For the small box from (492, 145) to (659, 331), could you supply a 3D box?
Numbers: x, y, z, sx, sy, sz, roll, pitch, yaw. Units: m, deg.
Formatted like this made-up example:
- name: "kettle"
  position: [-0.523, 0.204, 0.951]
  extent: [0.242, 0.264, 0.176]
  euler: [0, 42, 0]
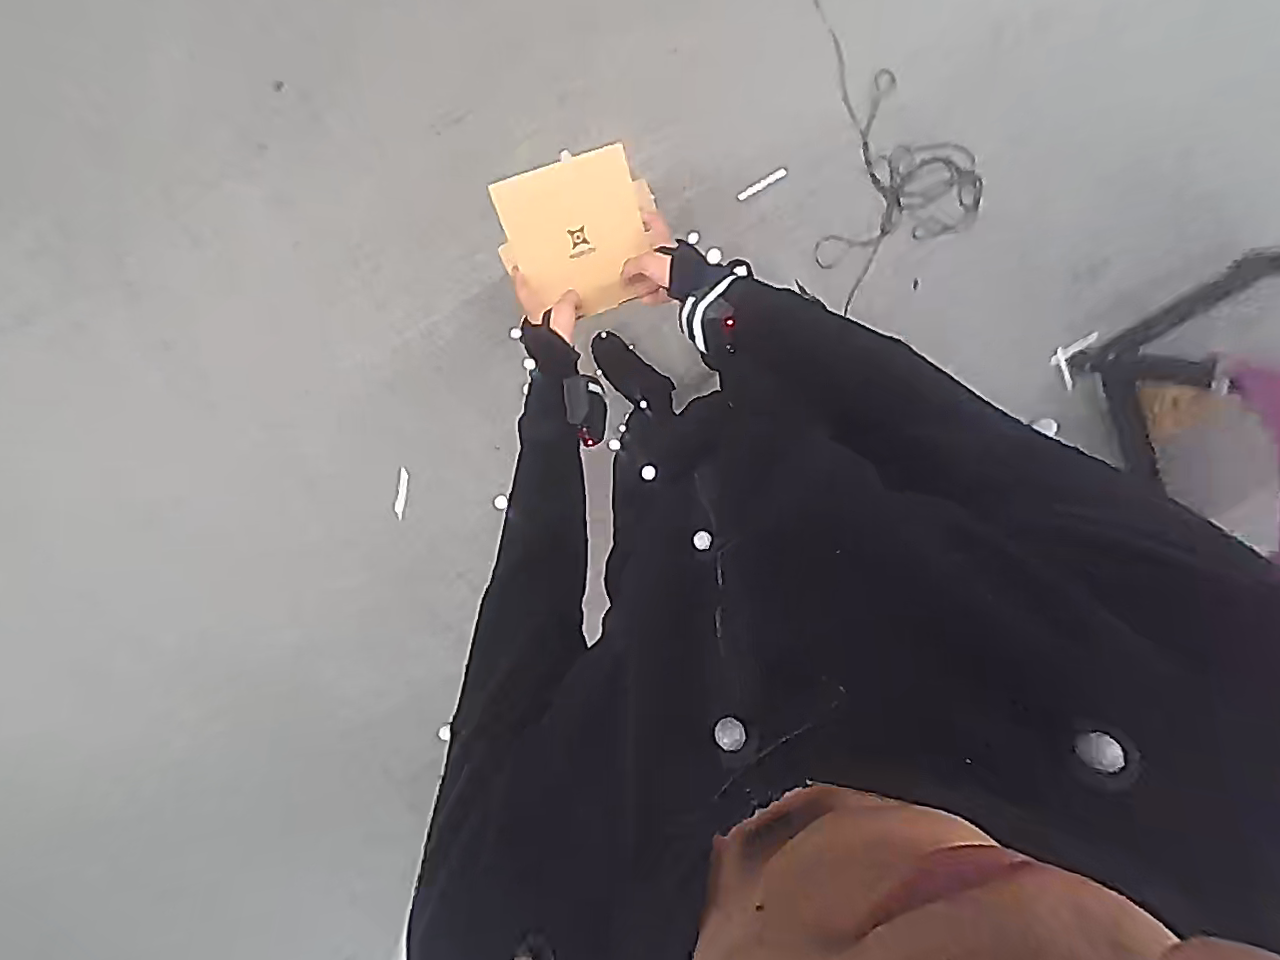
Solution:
- name: "small box"
  position: [-0.091, -0.321, 0.730]
  extent: [0.168, 0.176, 0.179]
  euler: [-20, 117, -4]

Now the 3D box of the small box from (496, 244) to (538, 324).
- name: "small box"
  position: [-0.195, -0.468, 1.215]
  extent: [0.179, 0.176, 0.168]
  euler: [-26, 108, 5]
